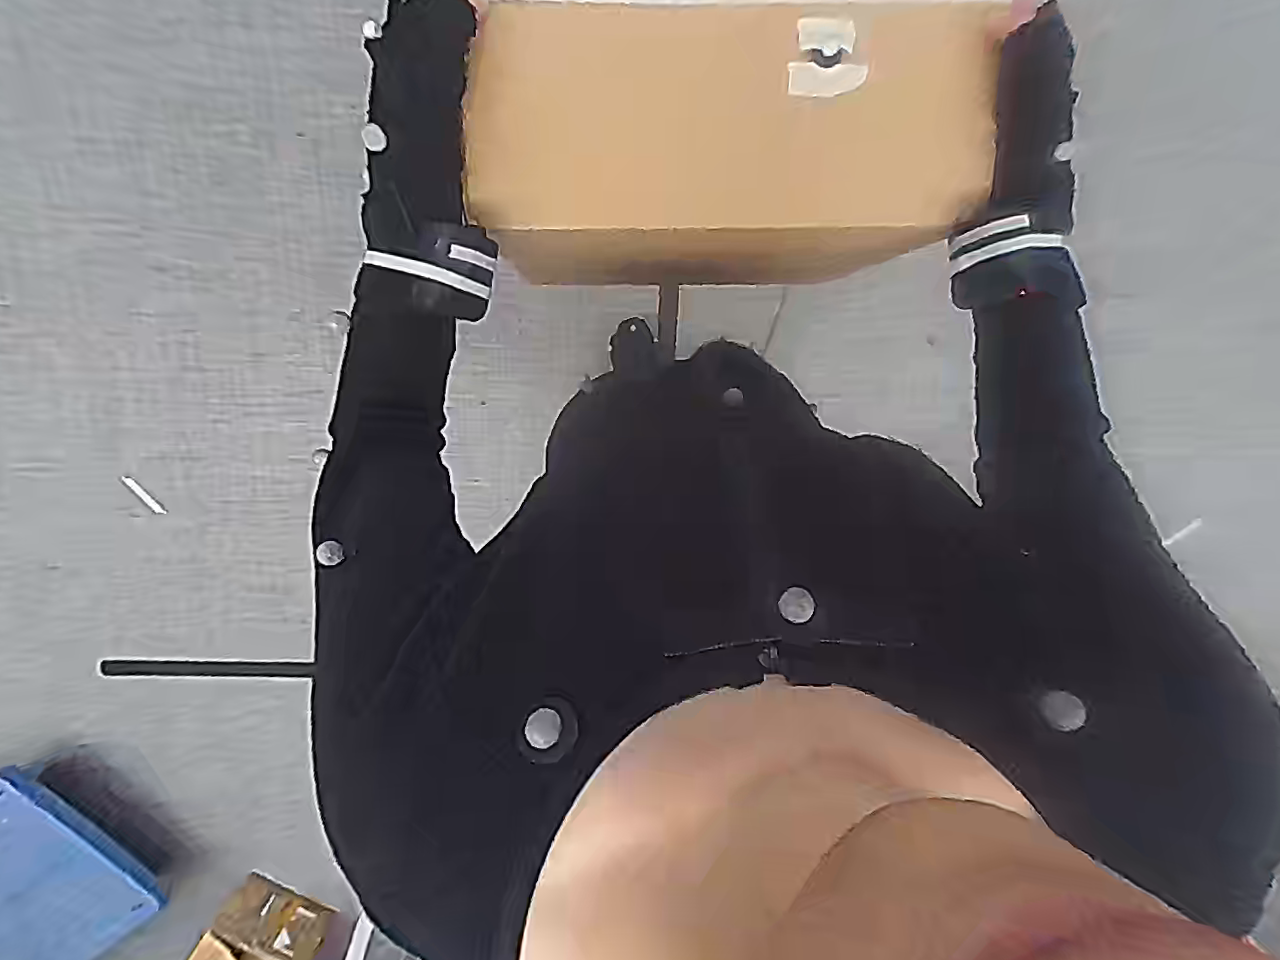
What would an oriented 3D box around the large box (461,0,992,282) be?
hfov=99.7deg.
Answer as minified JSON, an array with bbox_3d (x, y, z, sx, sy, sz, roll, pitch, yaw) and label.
[{"bbox_3d":[0.057,-0.389,0.543,0.408,0.320,0.320,-2,102,-3],"label":"large box"}]
